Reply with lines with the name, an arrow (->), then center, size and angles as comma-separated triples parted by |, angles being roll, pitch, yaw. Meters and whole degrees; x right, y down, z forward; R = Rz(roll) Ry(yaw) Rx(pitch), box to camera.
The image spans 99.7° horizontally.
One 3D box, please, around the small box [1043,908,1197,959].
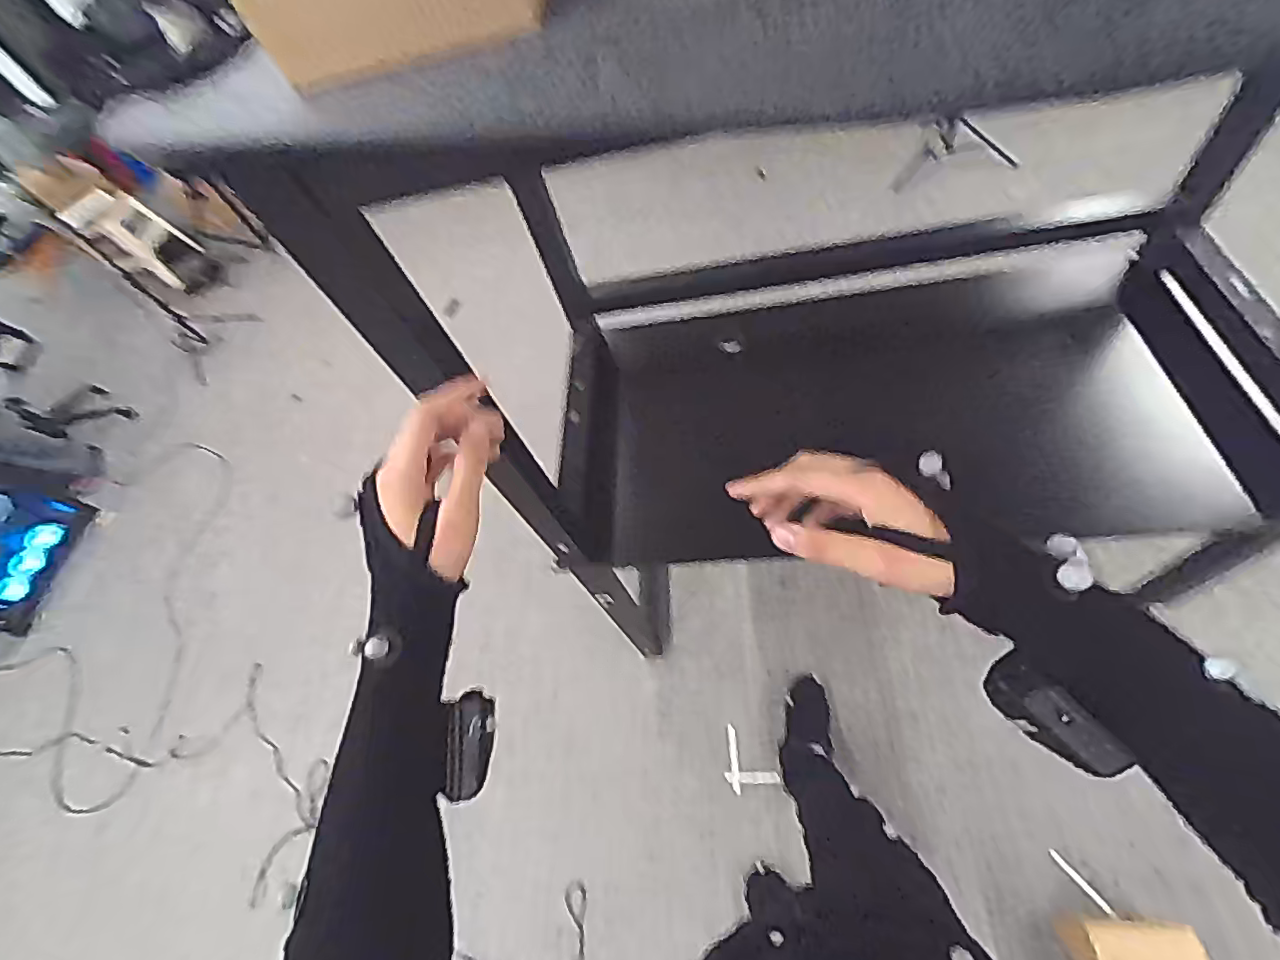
small box -> 0.910, 0.919, 1.013 | 0.179, 0.176, 0.168 | -7, 58, 11
